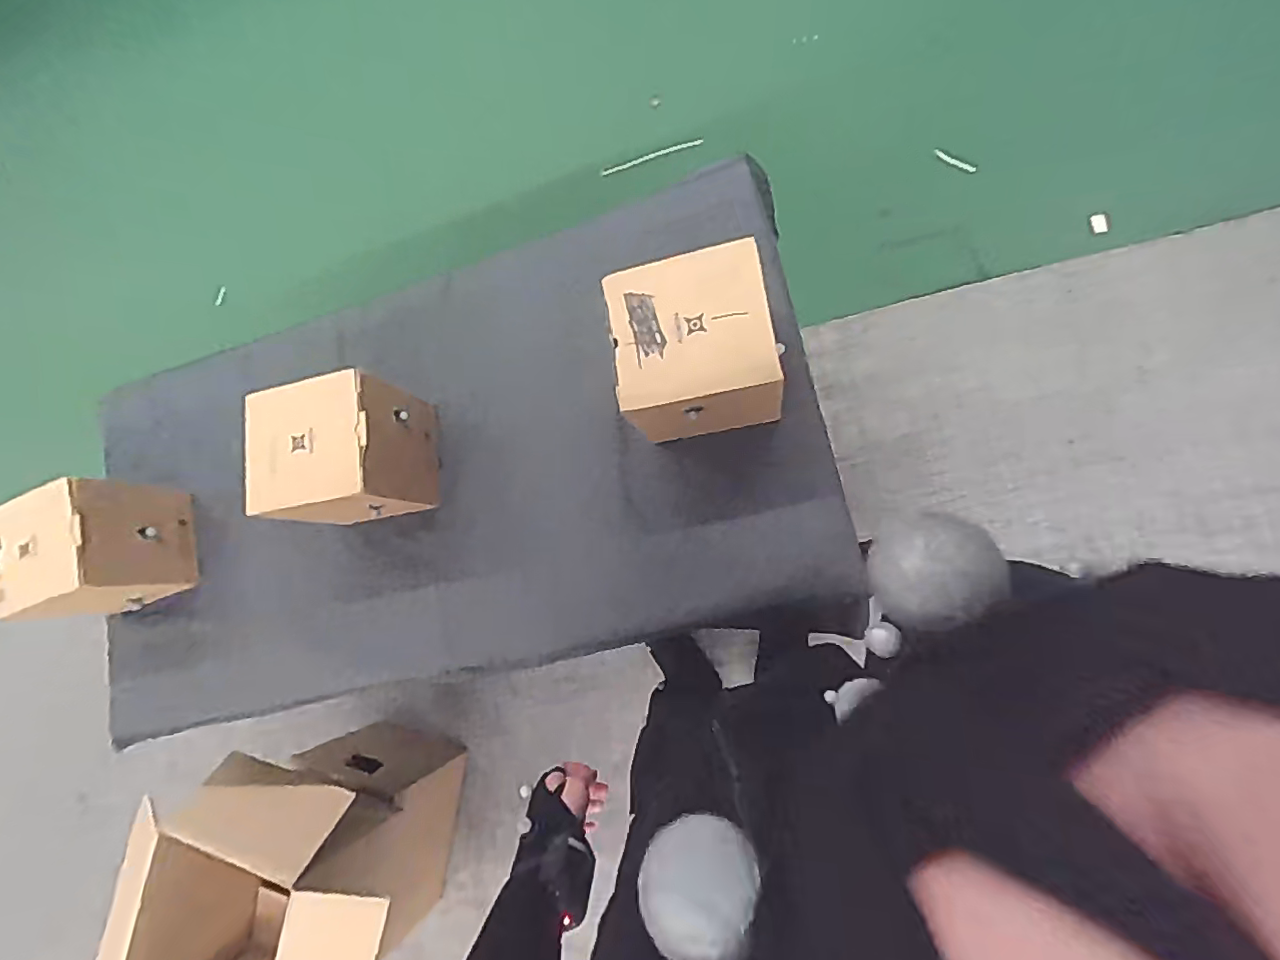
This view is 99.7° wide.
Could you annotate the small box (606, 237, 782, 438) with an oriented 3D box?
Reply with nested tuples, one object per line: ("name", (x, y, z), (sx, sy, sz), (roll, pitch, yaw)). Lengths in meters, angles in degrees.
("small box", (0.073, -0.157, 0.659), (0.179, 0.176, 0.168), (-10, 80, 12))

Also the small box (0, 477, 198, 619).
("small box", (-0.835, 0.107, 0.845), (0.179, 0.176, 0.168), (-19, 77, 9))

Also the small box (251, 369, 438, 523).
("small box", (-0.403, -0.037, 0.762), (0.179, 0.176, 0.168), (-11, 78, 13))
